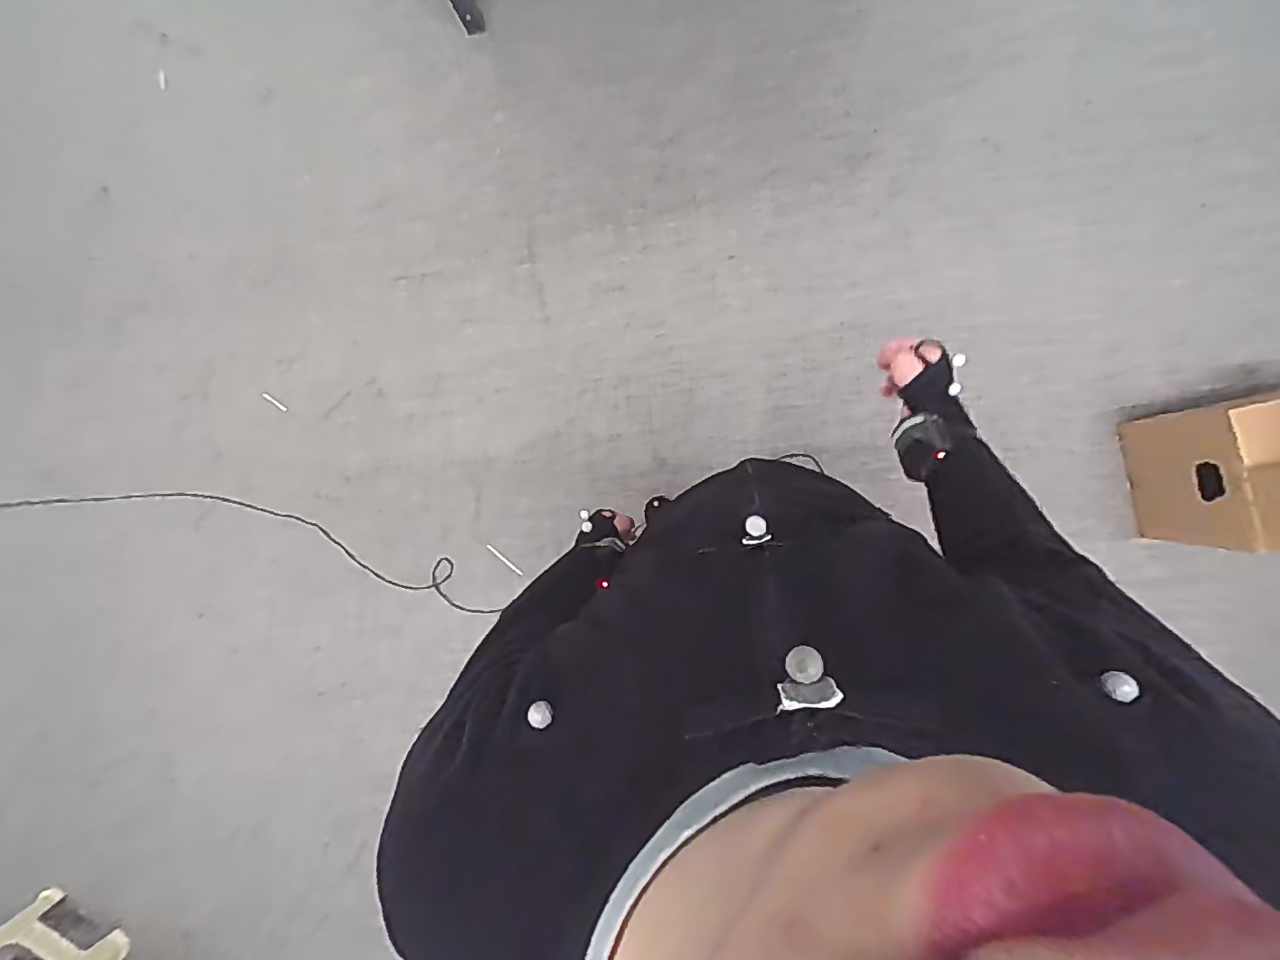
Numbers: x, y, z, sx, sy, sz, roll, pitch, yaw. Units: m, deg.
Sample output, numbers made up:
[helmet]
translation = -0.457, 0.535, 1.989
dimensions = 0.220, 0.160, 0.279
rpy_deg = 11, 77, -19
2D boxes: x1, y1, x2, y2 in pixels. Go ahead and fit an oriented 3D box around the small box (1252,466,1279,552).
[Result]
[small box]
translation = 1.348, 0.050, 1.032
dimensions = 0.168, 0.176, 0.179
rpy_deg = -13, 90, 7
